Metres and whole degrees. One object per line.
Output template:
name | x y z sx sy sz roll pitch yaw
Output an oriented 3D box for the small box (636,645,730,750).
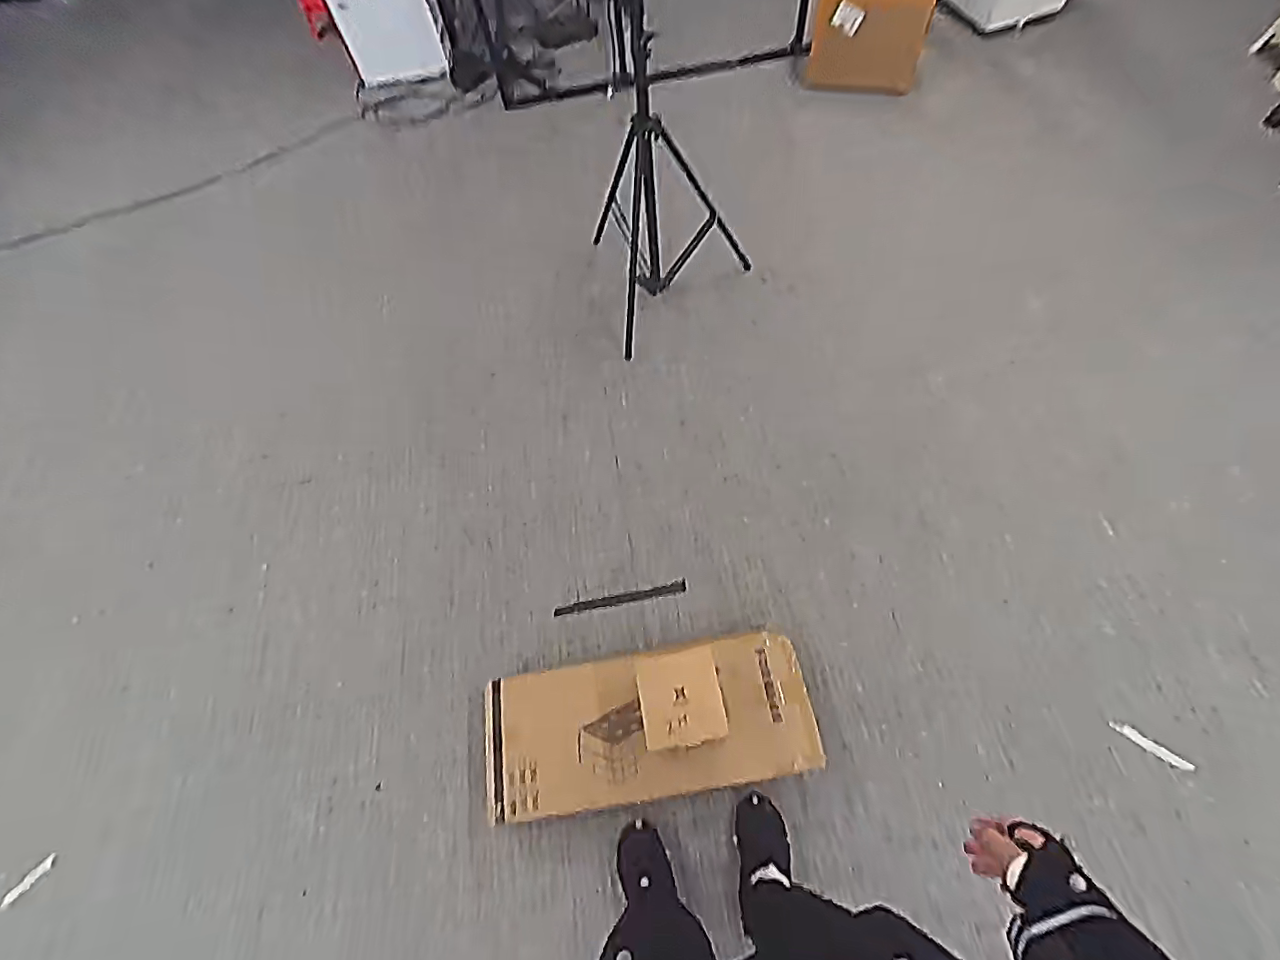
small box | 0.088 0.470 1.160 0.168 0.176 0.179 -11 62 0
